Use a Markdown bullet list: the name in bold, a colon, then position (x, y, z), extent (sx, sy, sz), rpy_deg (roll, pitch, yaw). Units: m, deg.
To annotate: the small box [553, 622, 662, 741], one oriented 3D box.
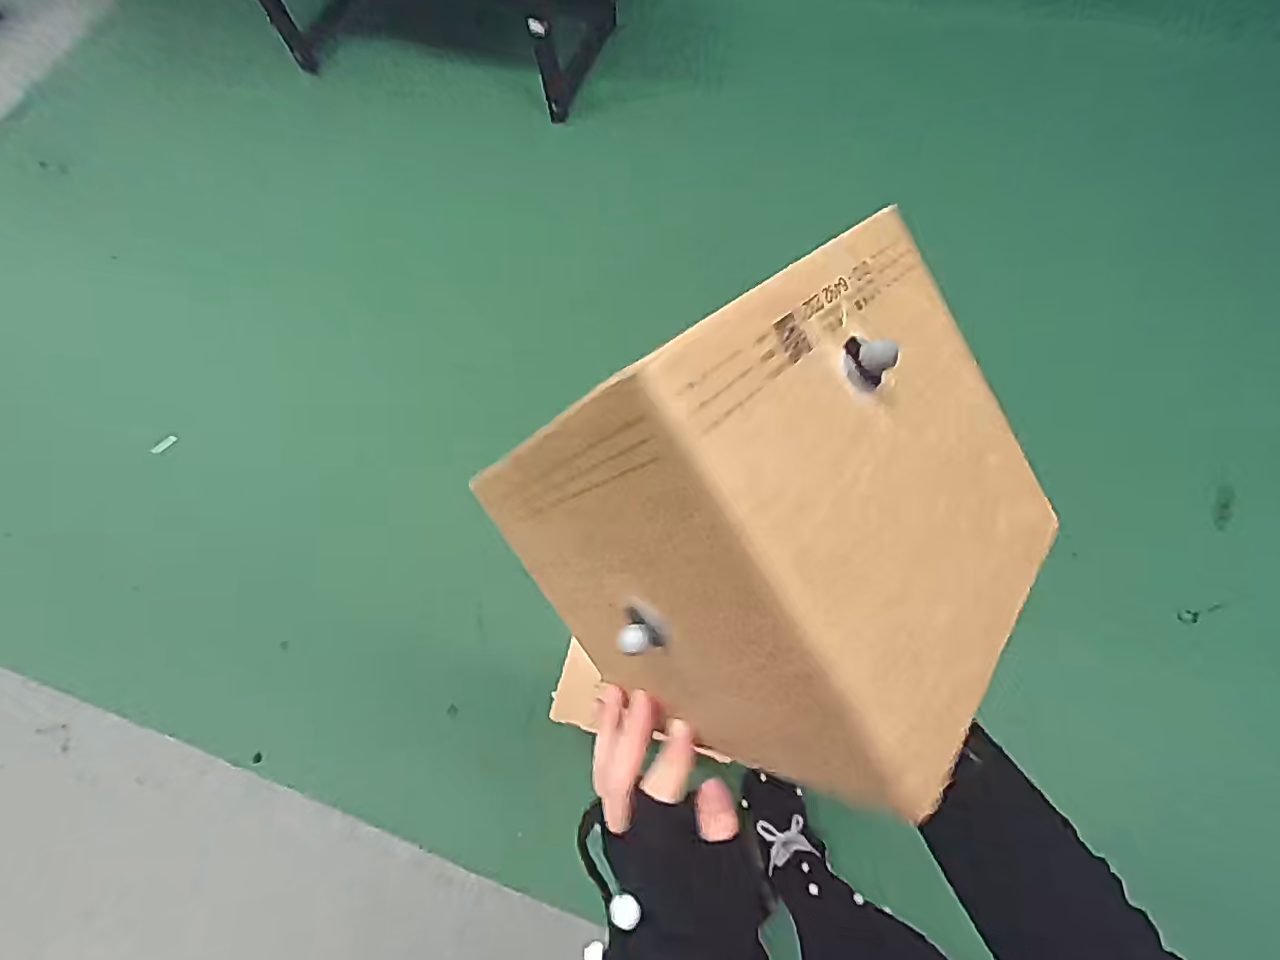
- **small box**: position (-0.054, 0.395, 1.068), extent (0.168, 0.176, 0.179), rpy_deg (12, 71, 9)
